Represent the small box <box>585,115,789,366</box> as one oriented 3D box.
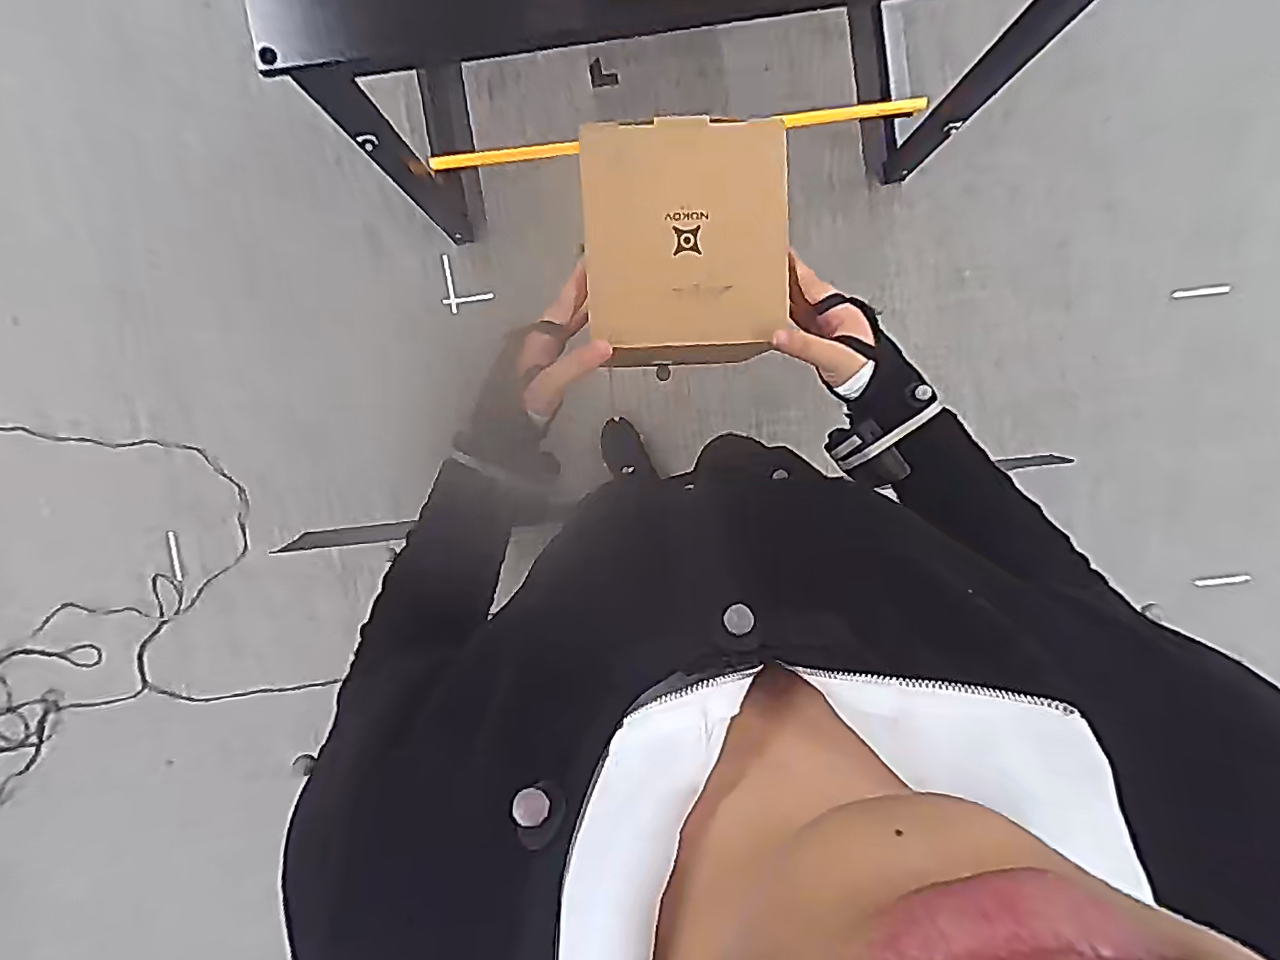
[{"bbox_3d":[0.034,-0.207,0.511,0.168,0.176,0.179,-3,96,-2],"label":"small box"}]
